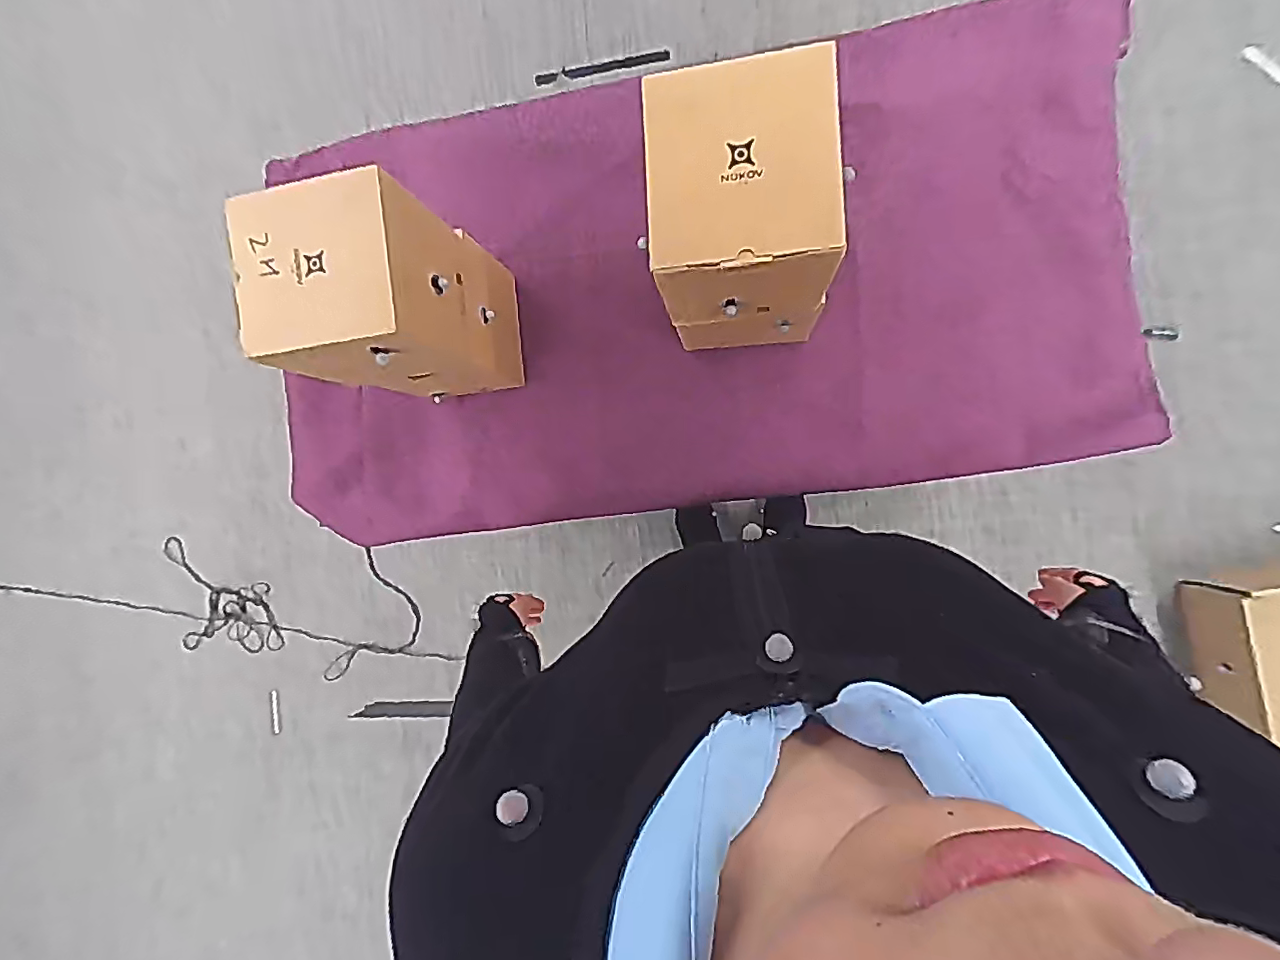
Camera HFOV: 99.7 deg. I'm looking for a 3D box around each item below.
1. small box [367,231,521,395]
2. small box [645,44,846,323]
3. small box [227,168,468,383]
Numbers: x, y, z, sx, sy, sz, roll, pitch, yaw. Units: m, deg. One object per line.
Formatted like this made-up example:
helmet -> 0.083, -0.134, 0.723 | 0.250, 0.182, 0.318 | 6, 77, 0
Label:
small box -> -0.280, -0.222, 0.772 | 0.168, 0.176, 0.179 | -6, 89, 10
small box -> 0.100, -0.273, 0.539 | 0.168, 0.176, 0.179 | -3, 90, 10
small box -> -0.310, -0.212, 0.610 | 0.179, 0.176, 0.168 | -7, 89, 10
